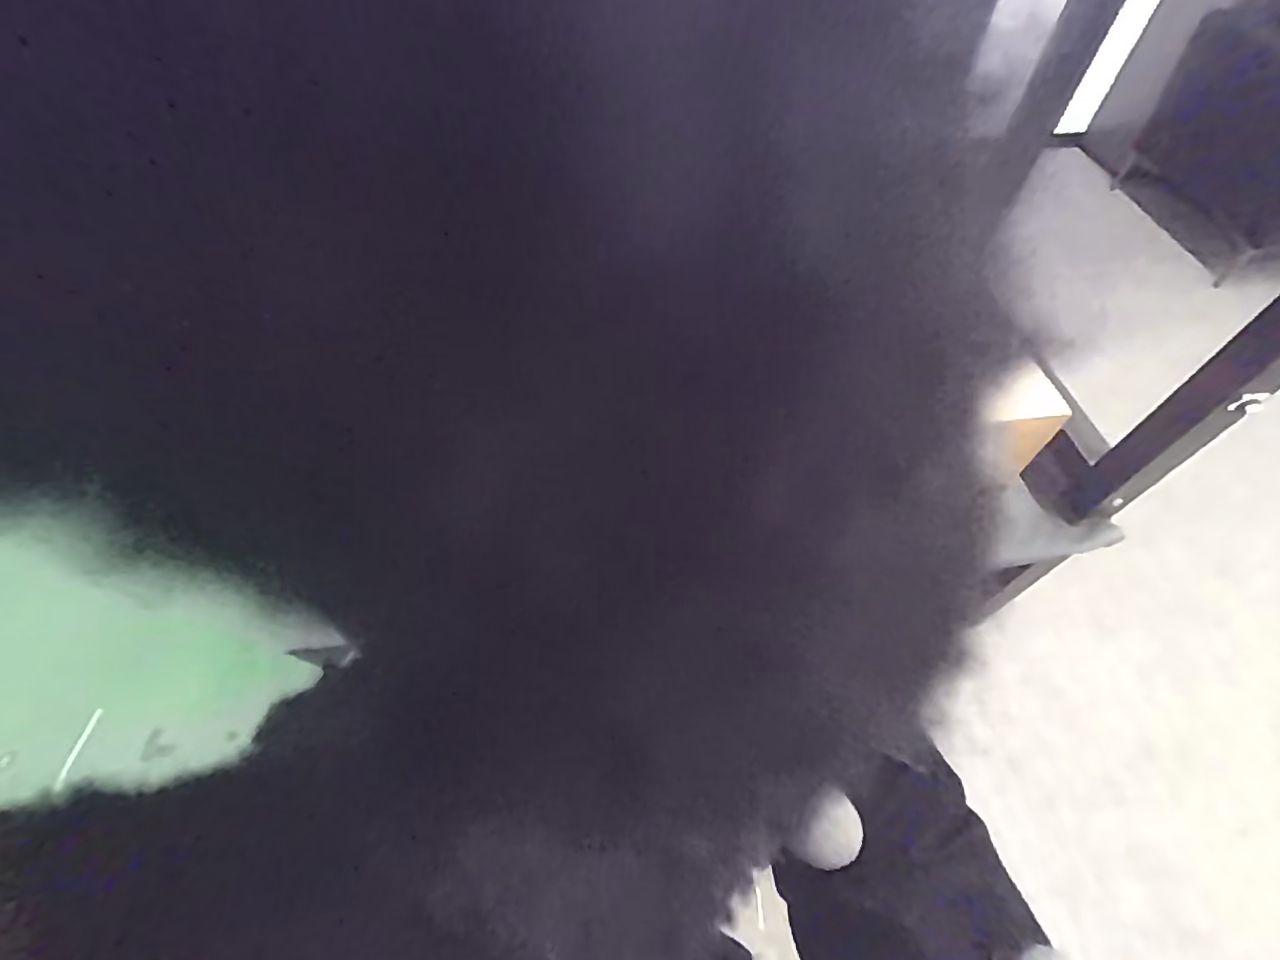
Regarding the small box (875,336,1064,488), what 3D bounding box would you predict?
[{"bbox_3d":[0.501,-0.100,0.855,0.168,0.176,0.179,-5,53,-2],"label":"small box"}]
